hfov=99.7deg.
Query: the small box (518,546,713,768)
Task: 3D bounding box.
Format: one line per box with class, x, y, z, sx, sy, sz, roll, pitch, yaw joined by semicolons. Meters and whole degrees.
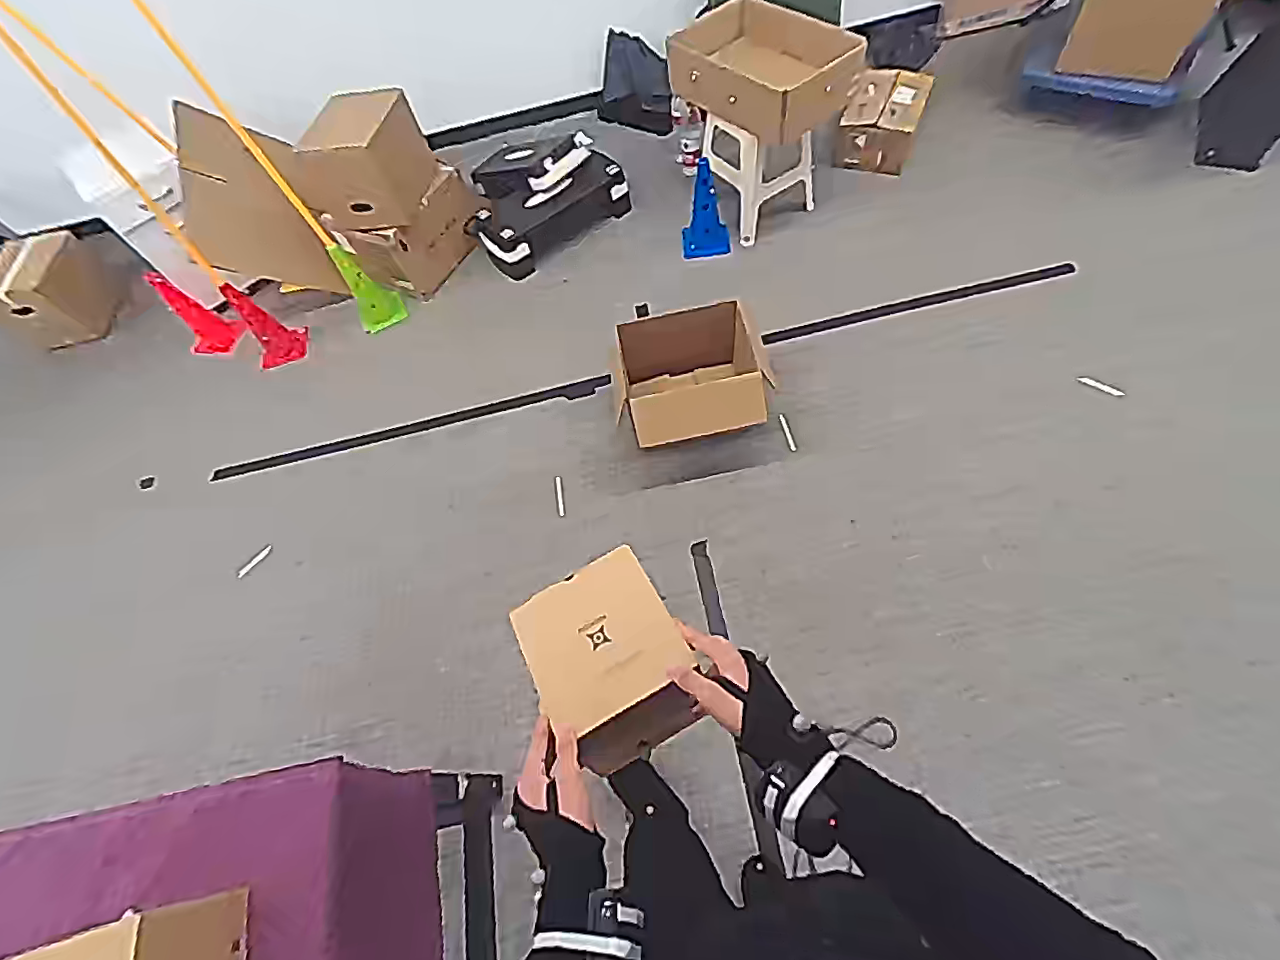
small box;-0.026;0.221;0.672;0.168;0.176;0.179;-28;50;-7
